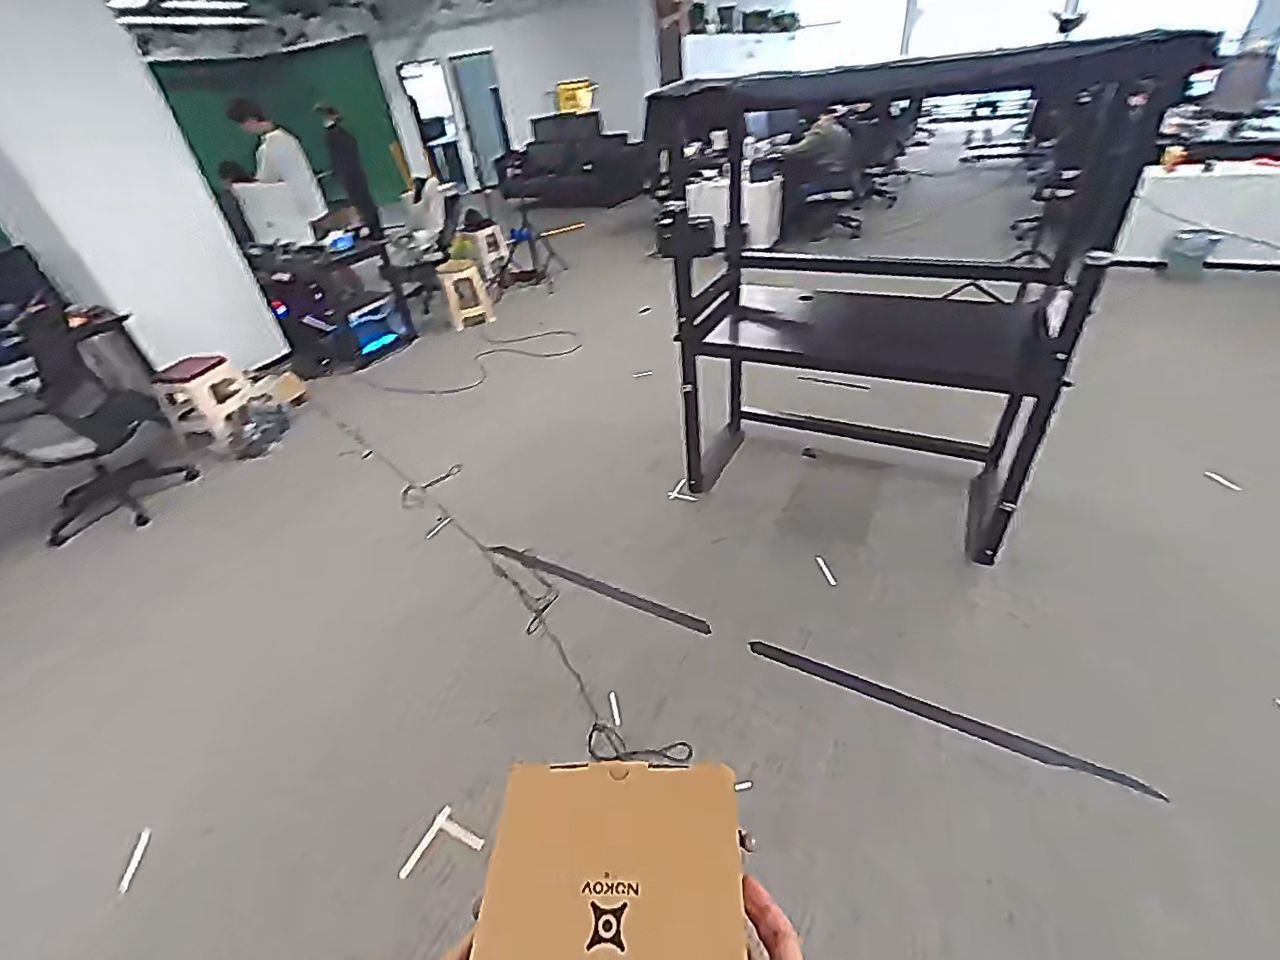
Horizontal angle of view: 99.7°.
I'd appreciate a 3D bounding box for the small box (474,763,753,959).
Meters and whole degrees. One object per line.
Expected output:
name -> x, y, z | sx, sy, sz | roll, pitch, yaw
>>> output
small box -> -0.006, 0.323, 0.377 | 0.168, 0.176, 0.179 | -3, 39, 6
